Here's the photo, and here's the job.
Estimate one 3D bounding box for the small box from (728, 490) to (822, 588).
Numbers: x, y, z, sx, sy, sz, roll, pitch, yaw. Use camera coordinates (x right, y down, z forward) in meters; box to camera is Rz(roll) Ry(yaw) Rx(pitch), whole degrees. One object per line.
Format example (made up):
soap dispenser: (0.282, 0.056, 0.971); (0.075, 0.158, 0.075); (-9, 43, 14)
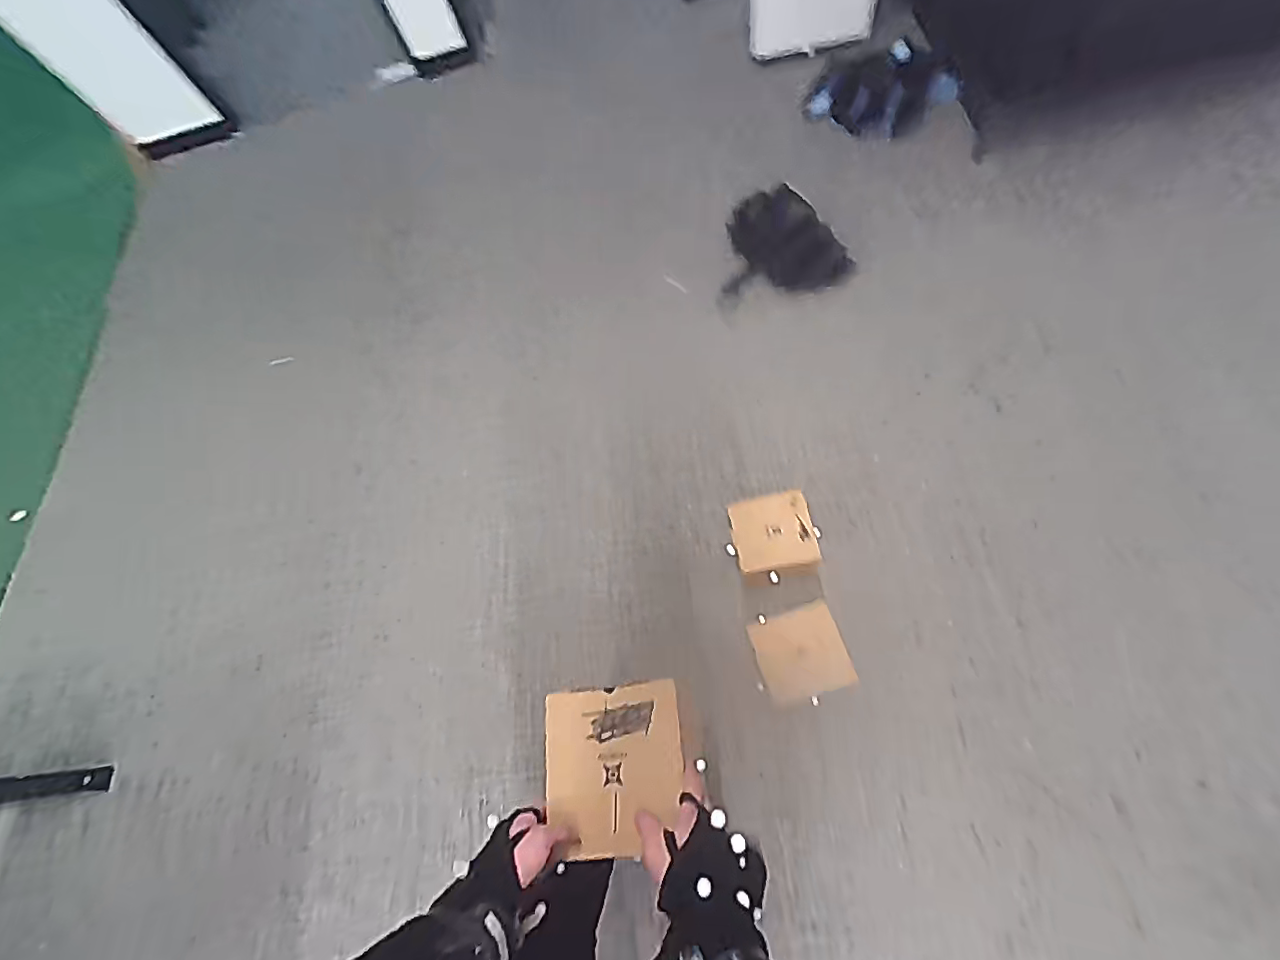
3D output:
small box: (0.310, 0.144, 1.257); (0.179, 0.176, 0.168); (-12, 65, 7)

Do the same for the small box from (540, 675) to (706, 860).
small box: (-0.016, 0.354, 0.674); (0.168, 0.176, 0.179); (-10, 61, 9)

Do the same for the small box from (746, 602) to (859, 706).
small box: (0.336, 0.377, 1.152); (0.179, 0.176, 0.168); (-18, 66, 2)
